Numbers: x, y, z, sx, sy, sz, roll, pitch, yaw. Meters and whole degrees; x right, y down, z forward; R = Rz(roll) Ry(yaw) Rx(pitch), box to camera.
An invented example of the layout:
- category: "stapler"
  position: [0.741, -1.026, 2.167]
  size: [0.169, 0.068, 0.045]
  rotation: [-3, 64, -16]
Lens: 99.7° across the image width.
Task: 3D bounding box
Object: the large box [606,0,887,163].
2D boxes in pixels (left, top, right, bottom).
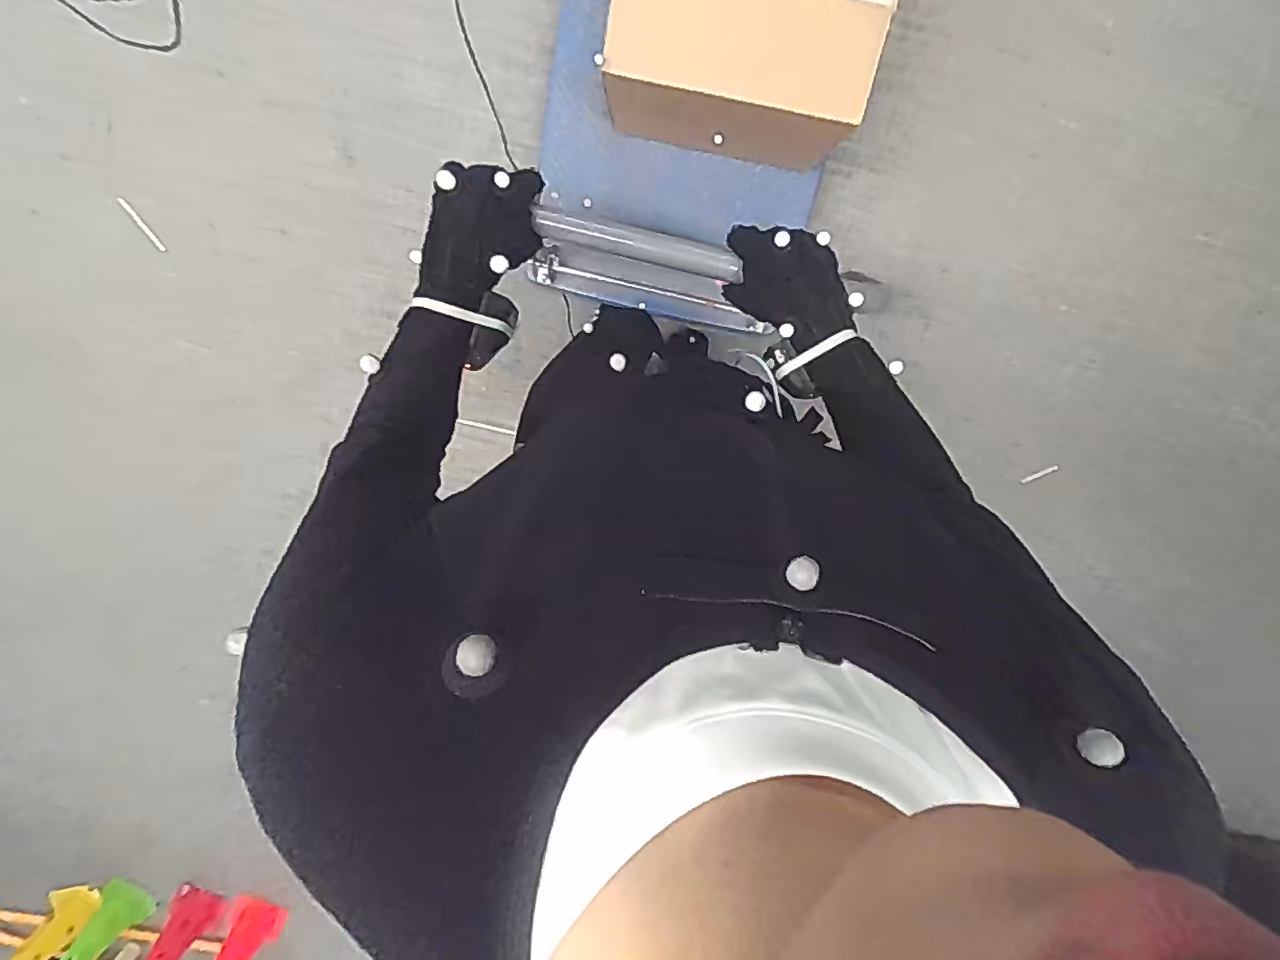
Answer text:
- category: "large box"
  position: [0.174, -0.775, 0.929]
  size: [0.408, 0.320, 0.320]
  rotation: [10, 108, -1]
